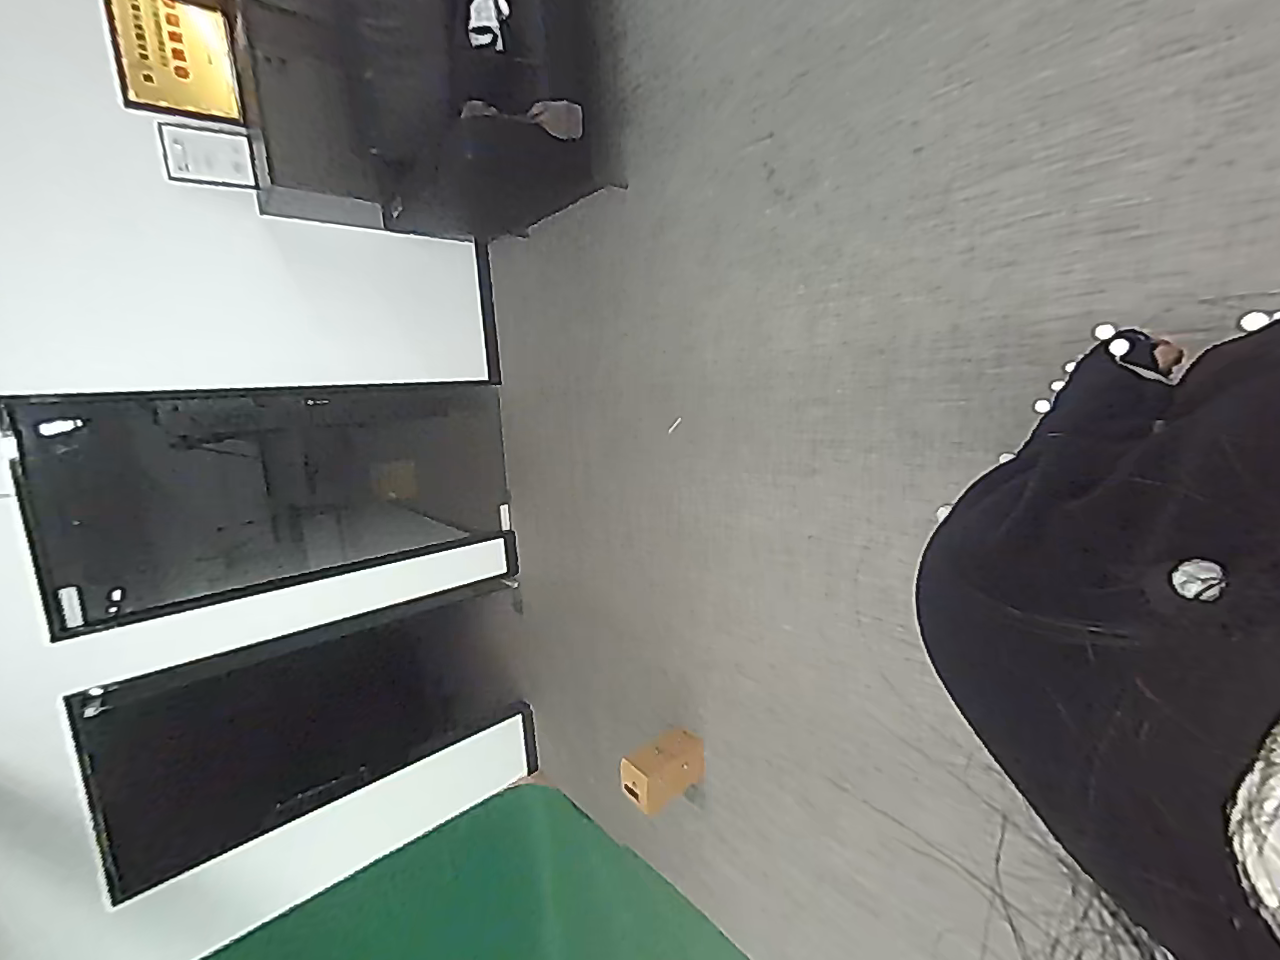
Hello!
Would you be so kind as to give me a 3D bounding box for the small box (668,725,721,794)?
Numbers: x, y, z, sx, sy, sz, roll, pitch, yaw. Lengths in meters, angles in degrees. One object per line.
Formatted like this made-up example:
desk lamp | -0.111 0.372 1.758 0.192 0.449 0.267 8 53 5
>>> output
small box | 0.239 1.209 2.359 0.168 0.176 0.179 16 111 48
